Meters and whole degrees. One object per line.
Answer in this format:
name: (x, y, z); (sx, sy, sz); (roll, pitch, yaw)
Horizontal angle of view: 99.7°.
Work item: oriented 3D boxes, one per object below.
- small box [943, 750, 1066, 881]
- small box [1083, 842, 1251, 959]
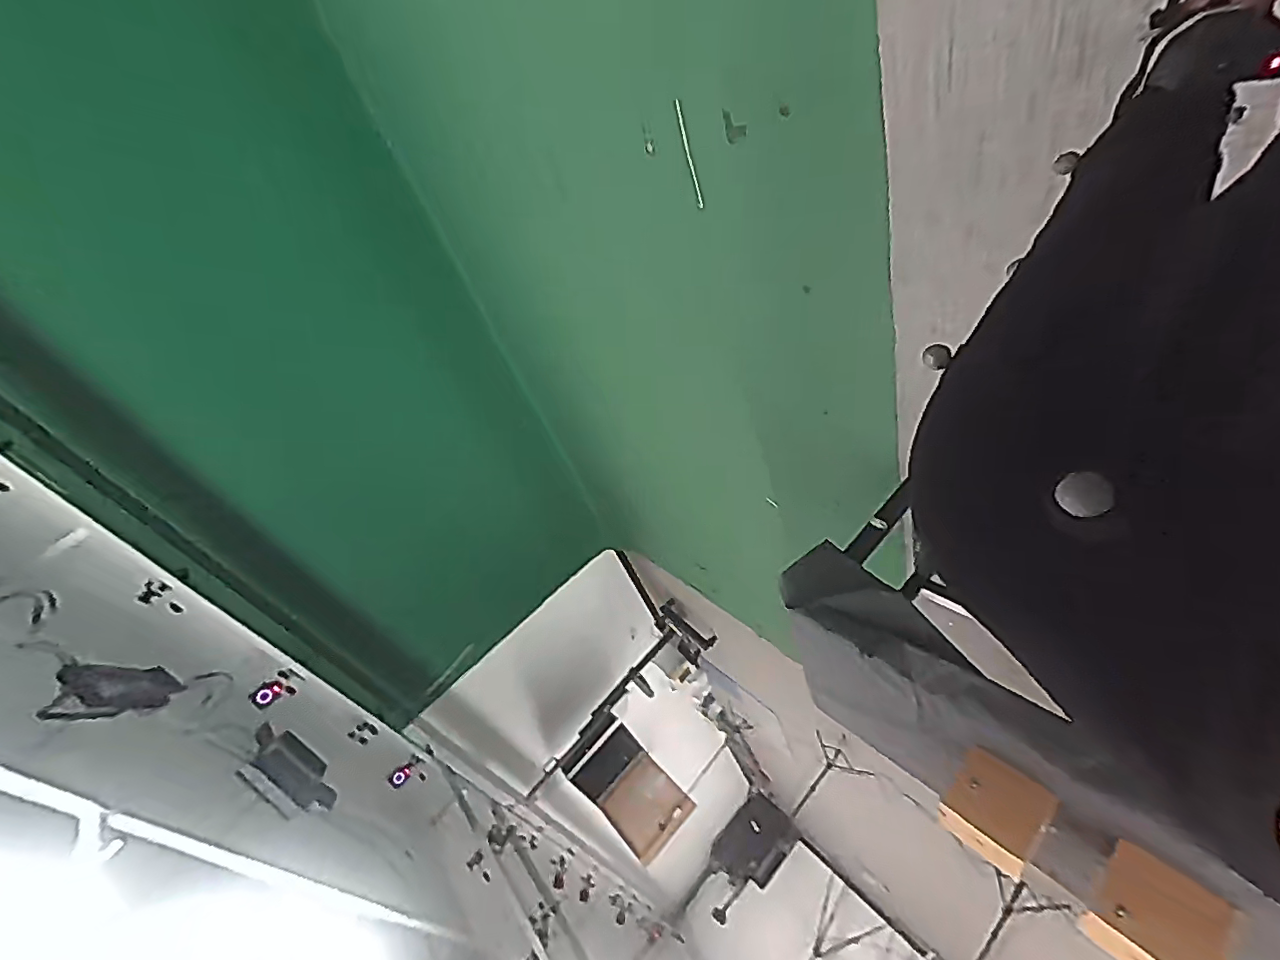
small box: (0.817, 0.745, 1.223); (0.179, 0.176, 0.168); (26, 152, 46)
small box: (0.990, 0.839, 1.023); (0.179, 0.176, 0.168); (28, 152, 47)
